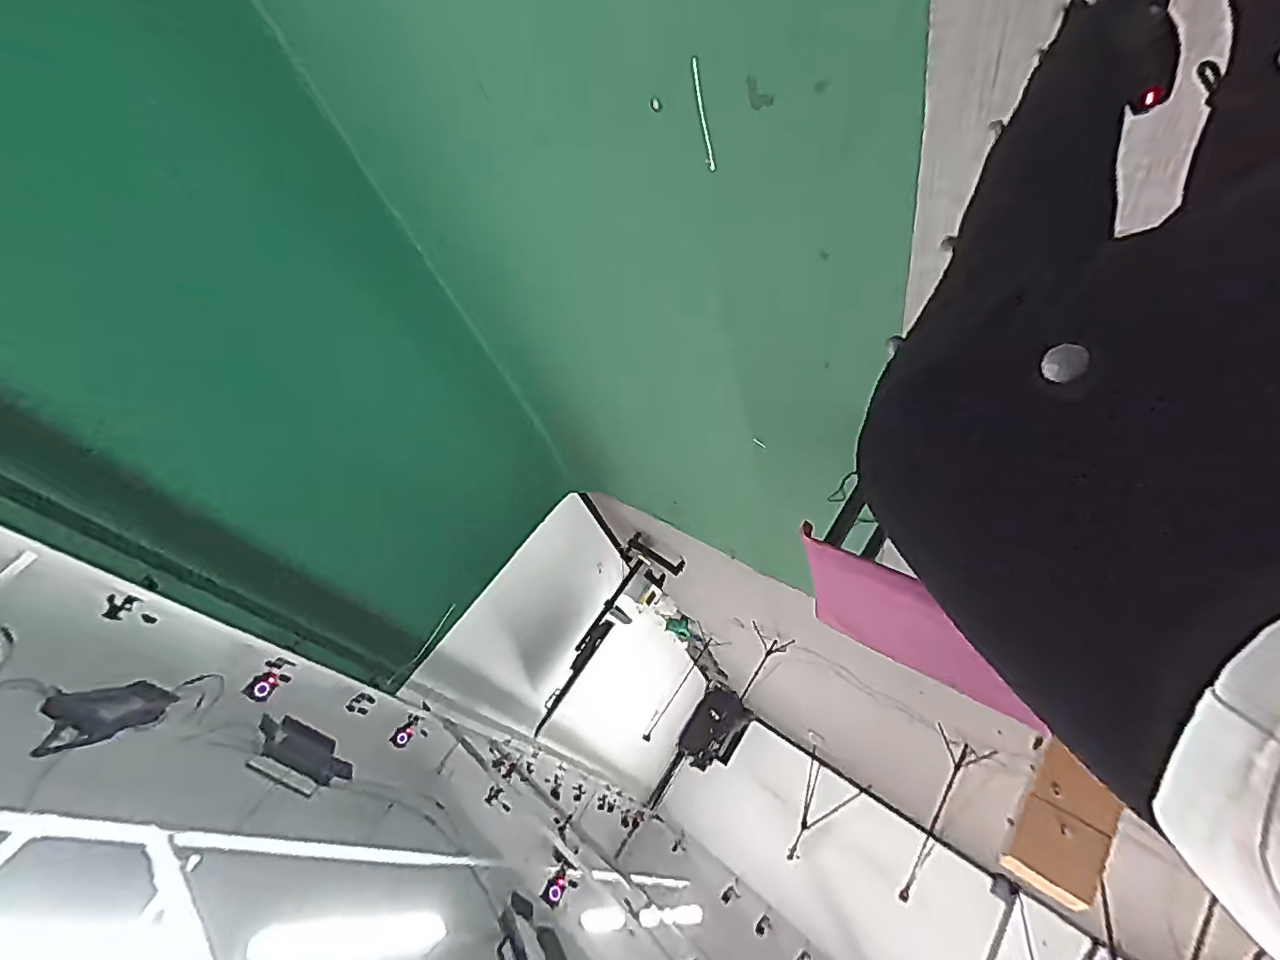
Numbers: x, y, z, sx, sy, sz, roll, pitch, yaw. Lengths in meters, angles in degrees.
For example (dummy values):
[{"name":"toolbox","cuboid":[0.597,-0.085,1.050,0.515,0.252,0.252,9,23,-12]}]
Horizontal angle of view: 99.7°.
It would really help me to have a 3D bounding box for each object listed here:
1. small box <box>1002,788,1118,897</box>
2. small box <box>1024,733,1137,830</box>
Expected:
[{"name":"small box","cuboid":[1.070,0.919,1.384,0.179,0.176,0.168,25,157,36]},{"name":"small box","cuboid":[1.168,0.801,1.440,0.179,0.176,0.168,24,156,35]}]
